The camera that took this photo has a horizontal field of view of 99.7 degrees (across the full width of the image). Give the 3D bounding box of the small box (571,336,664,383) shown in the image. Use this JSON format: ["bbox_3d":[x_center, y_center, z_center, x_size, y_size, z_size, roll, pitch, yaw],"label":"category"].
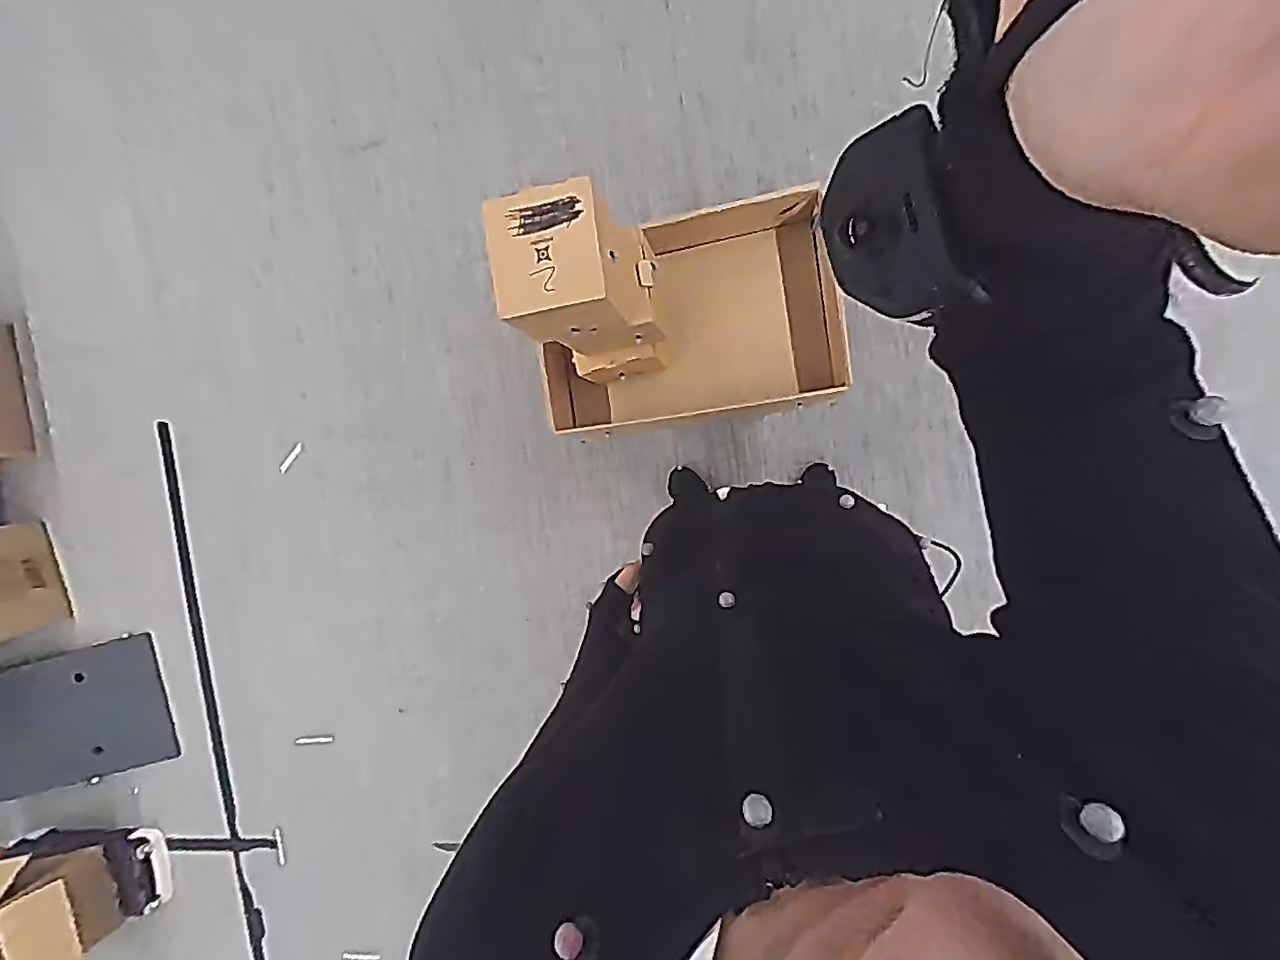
[{"bbox_3d":[-0.053,-0.320,1.158,0.168,0.176,0.179,-13,91,12],"label":"small box"}]

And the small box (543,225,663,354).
[{"bbox_3d":[-0.057,-0.338,0.991,0.179,0.176,0.168,-8,91,11],"label":"small box"}]
